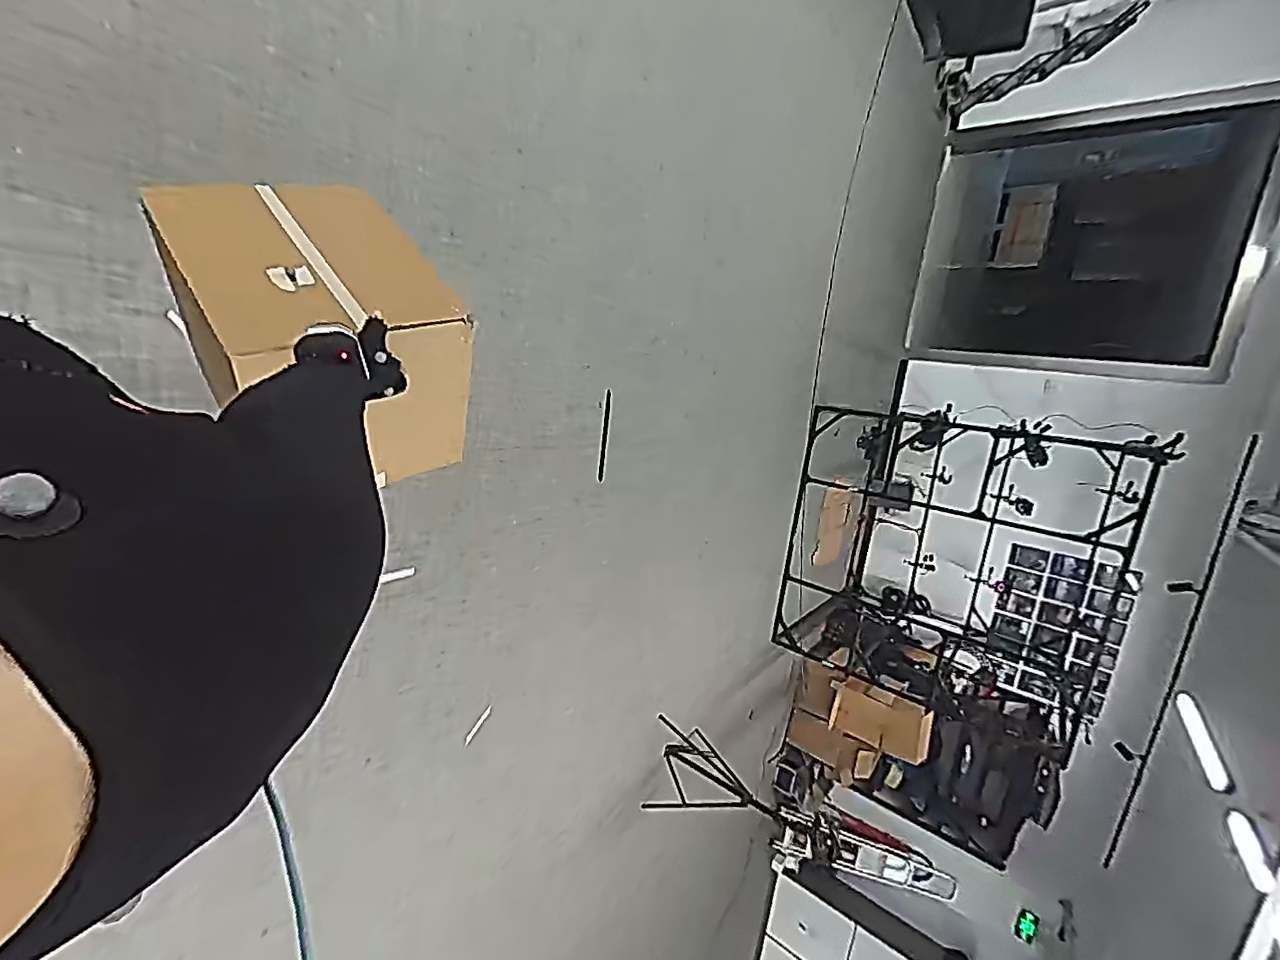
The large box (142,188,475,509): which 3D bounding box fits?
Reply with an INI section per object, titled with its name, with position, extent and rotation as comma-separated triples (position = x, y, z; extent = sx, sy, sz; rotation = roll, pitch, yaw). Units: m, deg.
[large box]
position = -0.532, -0.230, 0.905
extent = 0.320, 0.408, 0.320
rotation = -25, 154, -37
